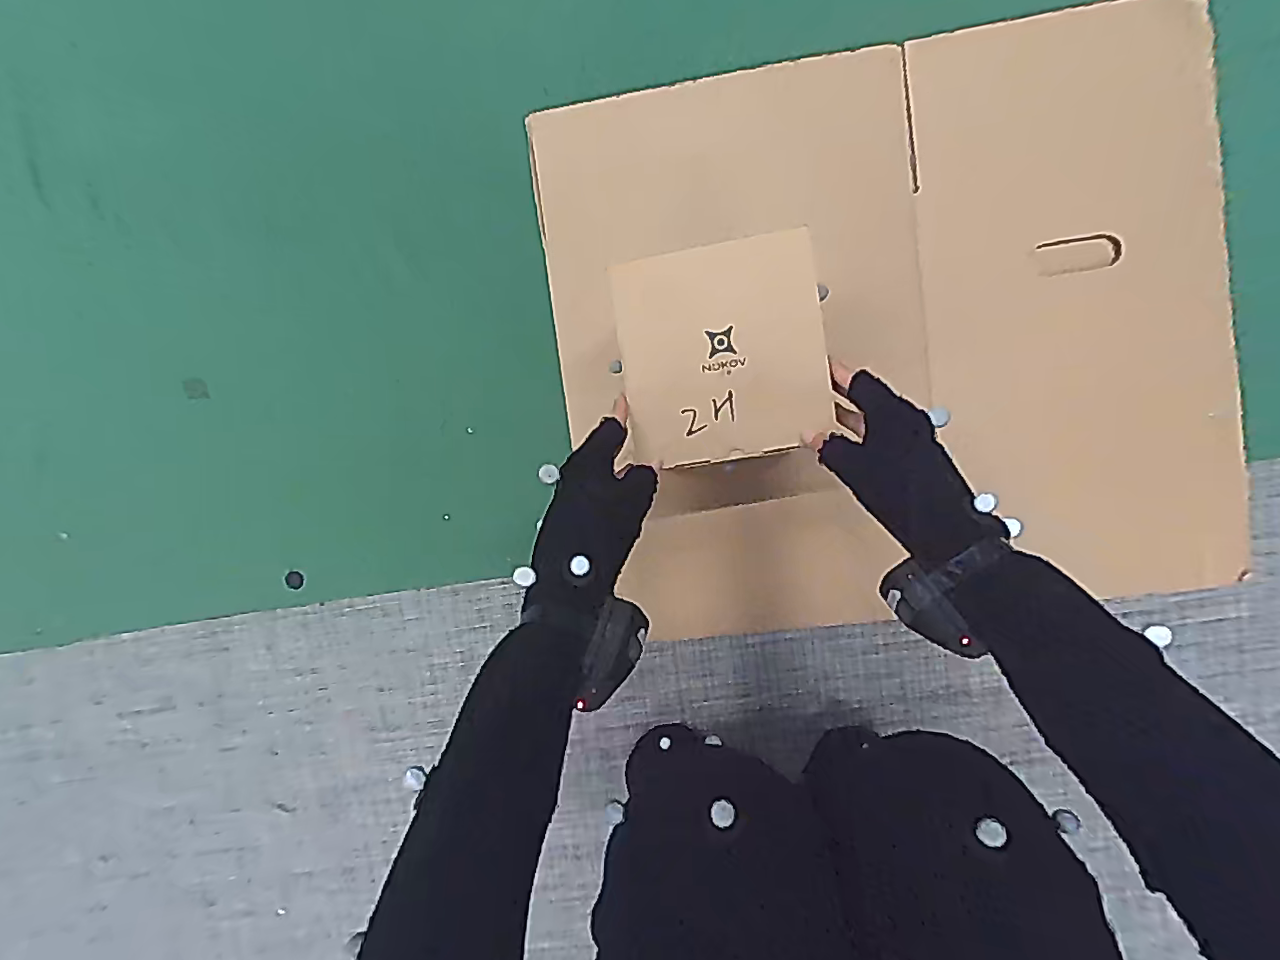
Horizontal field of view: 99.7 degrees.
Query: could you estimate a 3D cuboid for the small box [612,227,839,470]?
[{"bbox_3d":[0.076,-0.108,0.516,0.168,0.176,0.179,-9,93,7],"label":"small box"}]
